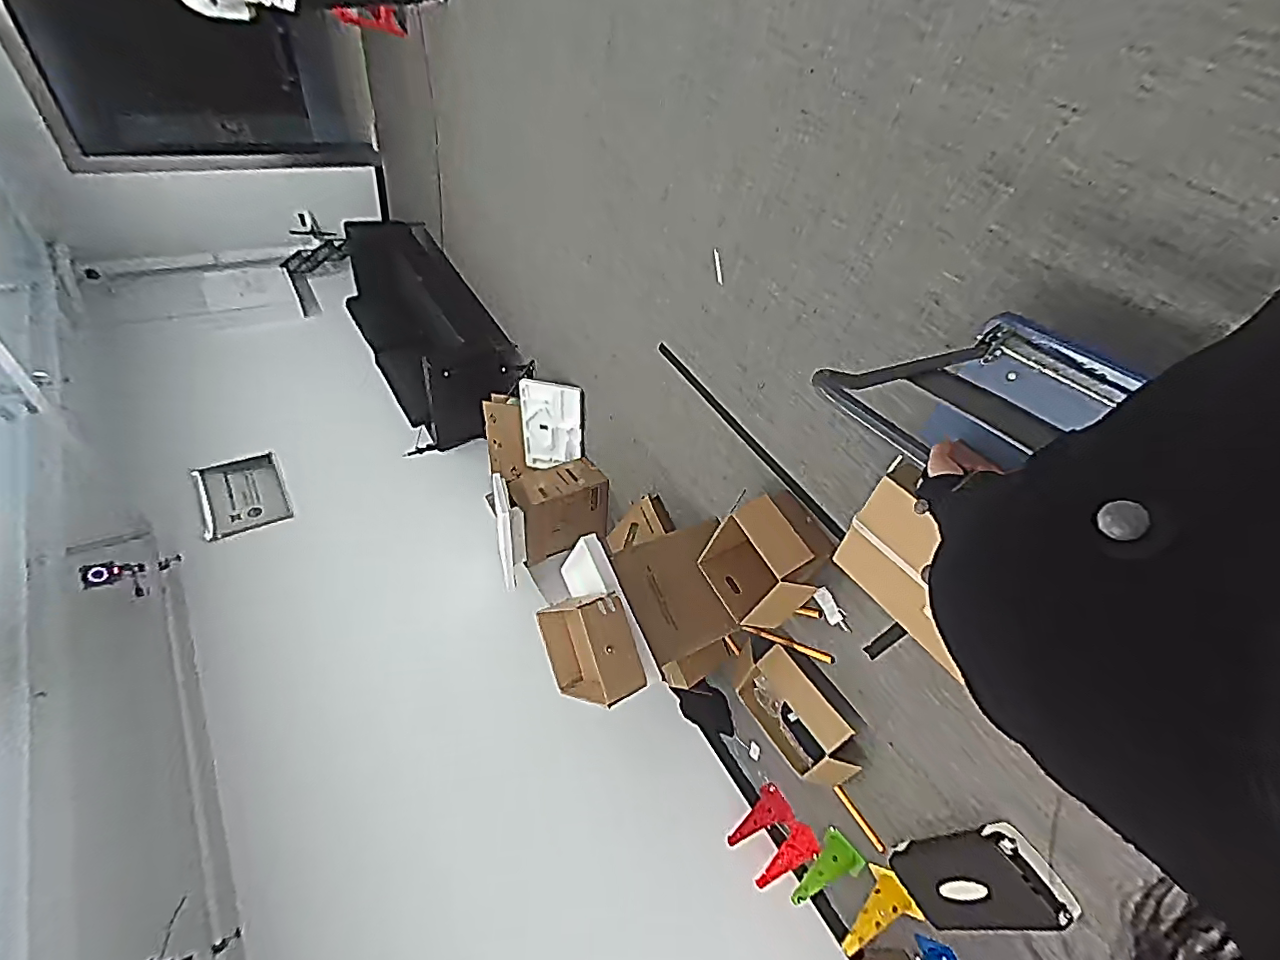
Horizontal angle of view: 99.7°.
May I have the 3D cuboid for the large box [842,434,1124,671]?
[{"bbox_3d":[0.777,0.151,1.277,0.408,0.320,0.320,48,145,33],"label":"large box"}]
